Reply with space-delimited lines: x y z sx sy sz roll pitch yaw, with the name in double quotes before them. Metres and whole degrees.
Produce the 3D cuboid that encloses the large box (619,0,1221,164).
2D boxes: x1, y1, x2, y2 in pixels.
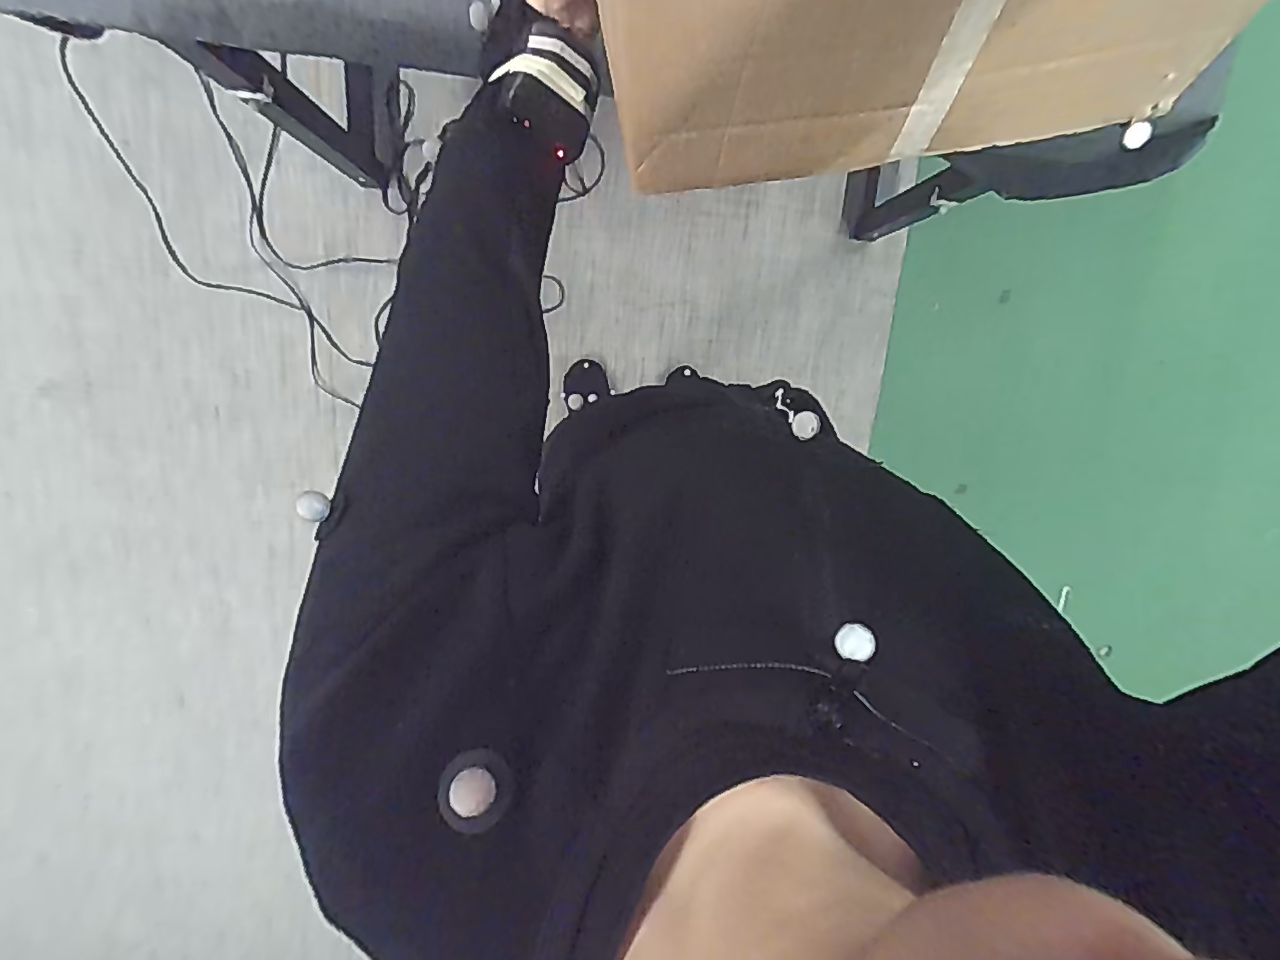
"large box" 0.123 -0.408 0.172 0.320 0.408 0.320 -9 75 0
